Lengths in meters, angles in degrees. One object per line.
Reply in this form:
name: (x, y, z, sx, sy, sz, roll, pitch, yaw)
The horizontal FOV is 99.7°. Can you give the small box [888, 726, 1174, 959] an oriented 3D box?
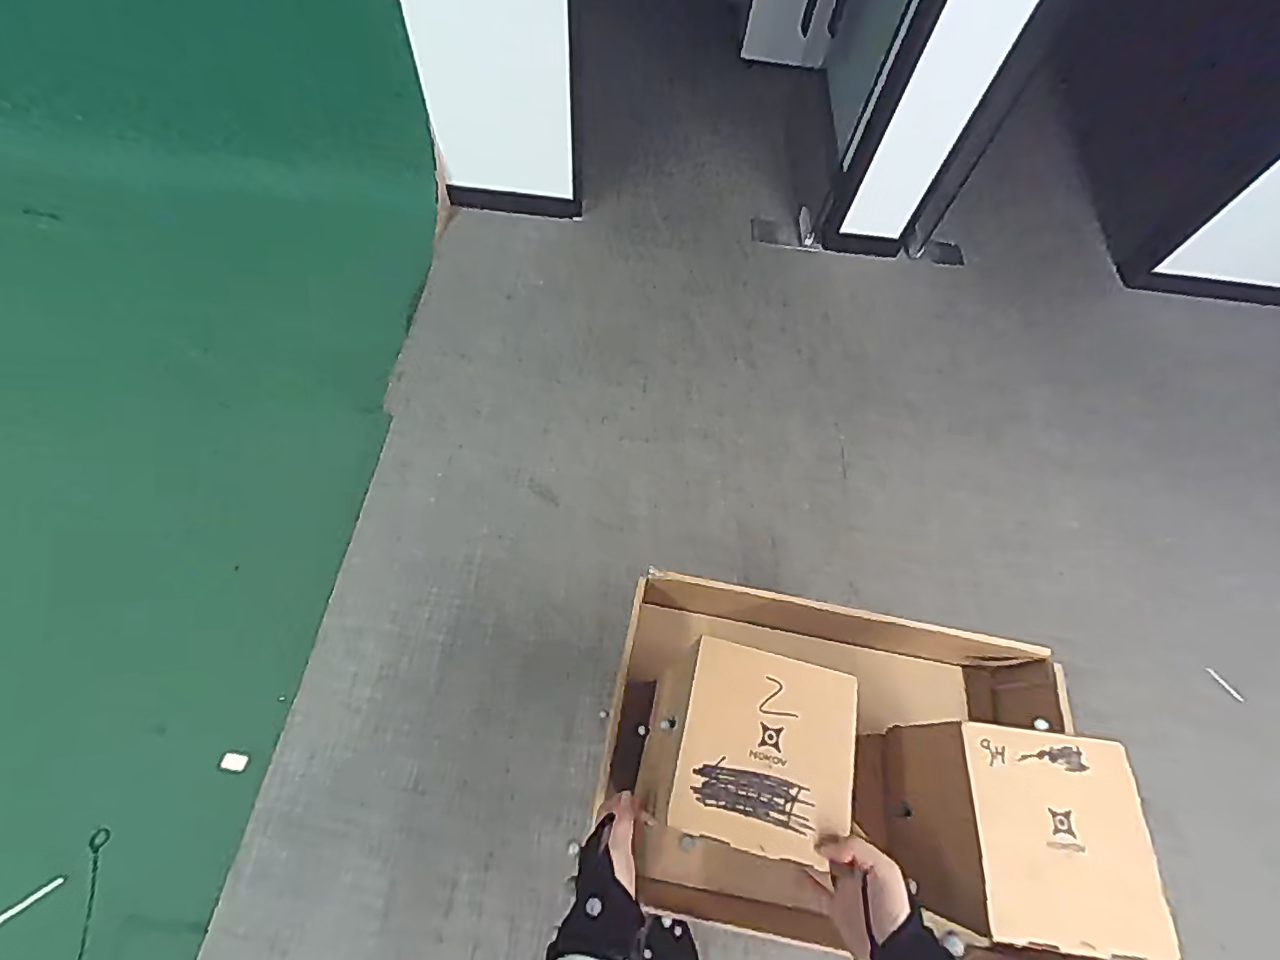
small box: (0.383, 0.368, 0.569, 0.168, 0.176, 0.179, 9, 63, 0)
